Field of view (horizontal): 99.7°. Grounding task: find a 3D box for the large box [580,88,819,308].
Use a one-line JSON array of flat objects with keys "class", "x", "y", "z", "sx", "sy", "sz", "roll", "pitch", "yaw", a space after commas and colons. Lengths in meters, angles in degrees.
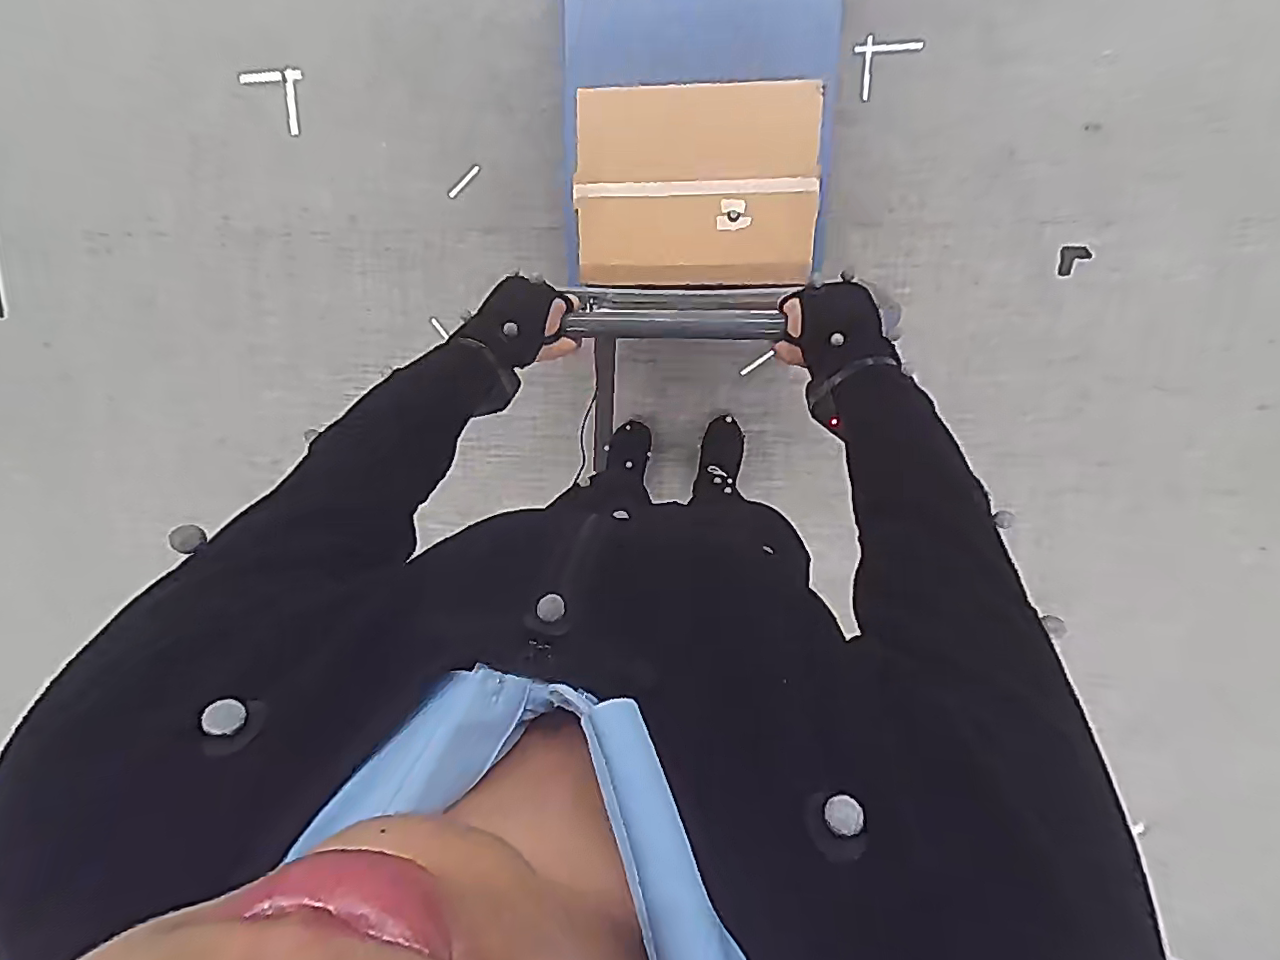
[{"class": "large box", "x": 0.109, "y": -0.524, "z": 1.078, "sx": 0.408, "sy": 0.320, "sz": 0.320, "roll": 1, "pitch": 103, "yaw": 5}]
